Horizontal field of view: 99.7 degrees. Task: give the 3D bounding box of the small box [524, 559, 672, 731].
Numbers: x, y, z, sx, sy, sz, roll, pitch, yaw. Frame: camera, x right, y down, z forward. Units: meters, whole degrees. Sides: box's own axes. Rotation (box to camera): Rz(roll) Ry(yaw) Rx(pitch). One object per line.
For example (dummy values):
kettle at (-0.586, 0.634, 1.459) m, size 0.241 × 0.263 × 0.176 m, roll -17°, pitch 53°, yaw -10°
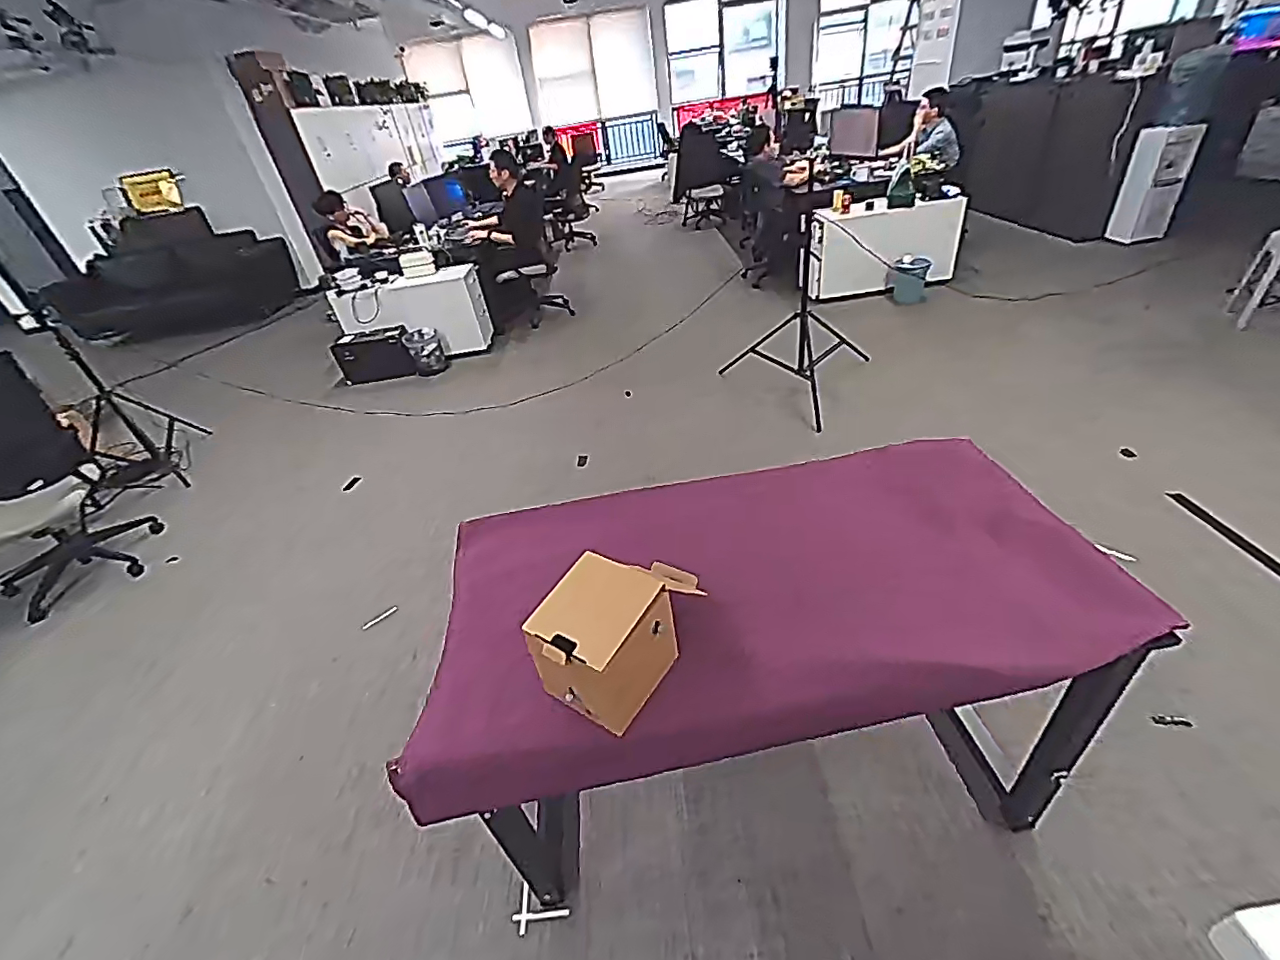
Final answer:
small box at (-0.059, 0.268, 0.894) m, size 0.168 × 0.176 × 0.179 m, roll 16°, pitch 42°, yaw 33°
